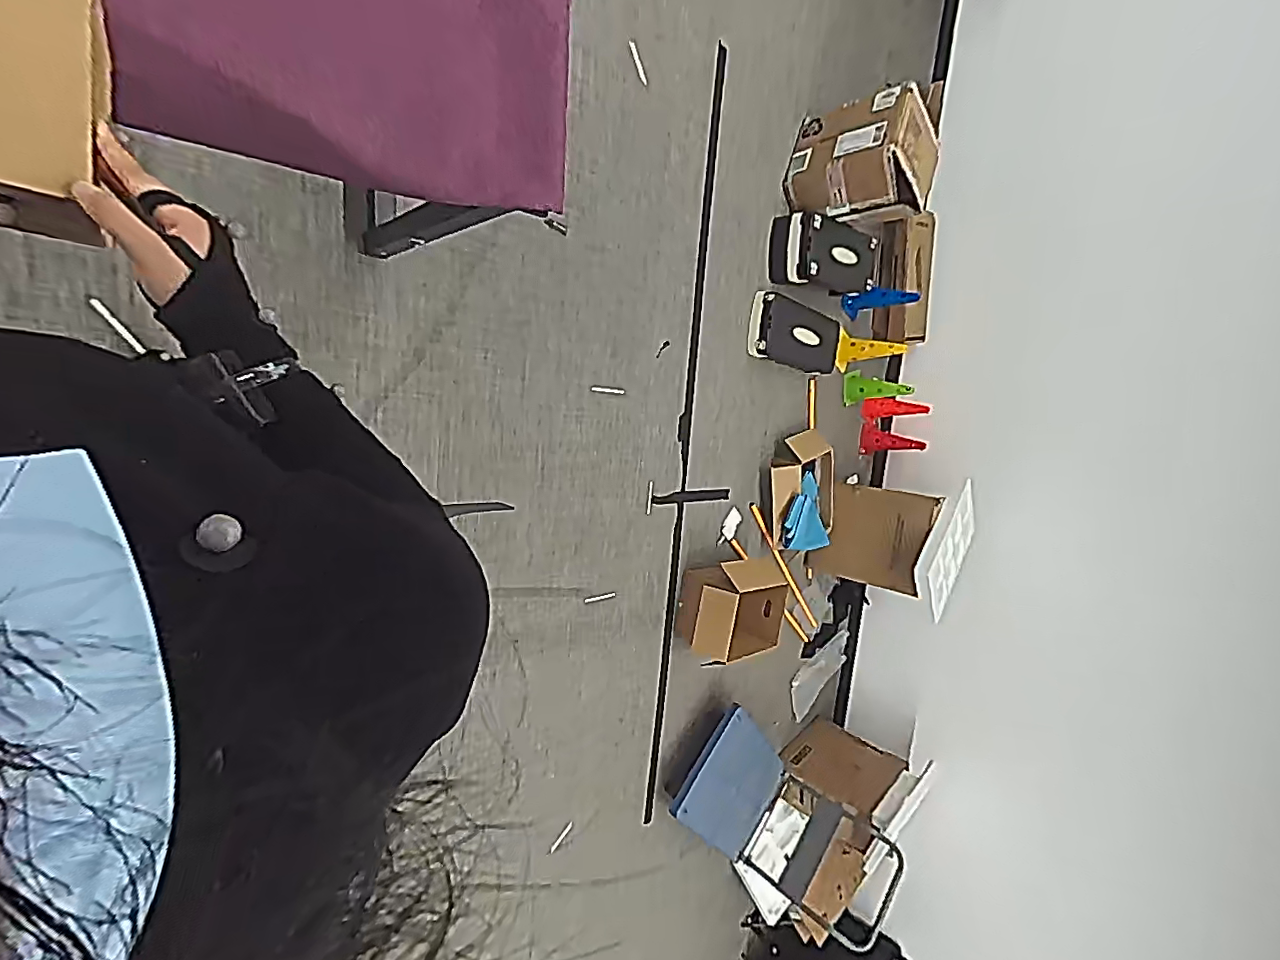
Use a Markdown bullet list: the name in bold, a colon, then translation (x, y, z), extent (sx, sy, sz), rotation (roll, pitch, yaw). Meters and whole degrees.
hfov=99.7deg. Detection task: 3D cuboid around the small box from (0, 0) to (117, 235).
- **small box**: translation (-0.485, -0.286, 0.372), extent (0.179, 0.176, 0.168), rotation (1, 97, -42)
